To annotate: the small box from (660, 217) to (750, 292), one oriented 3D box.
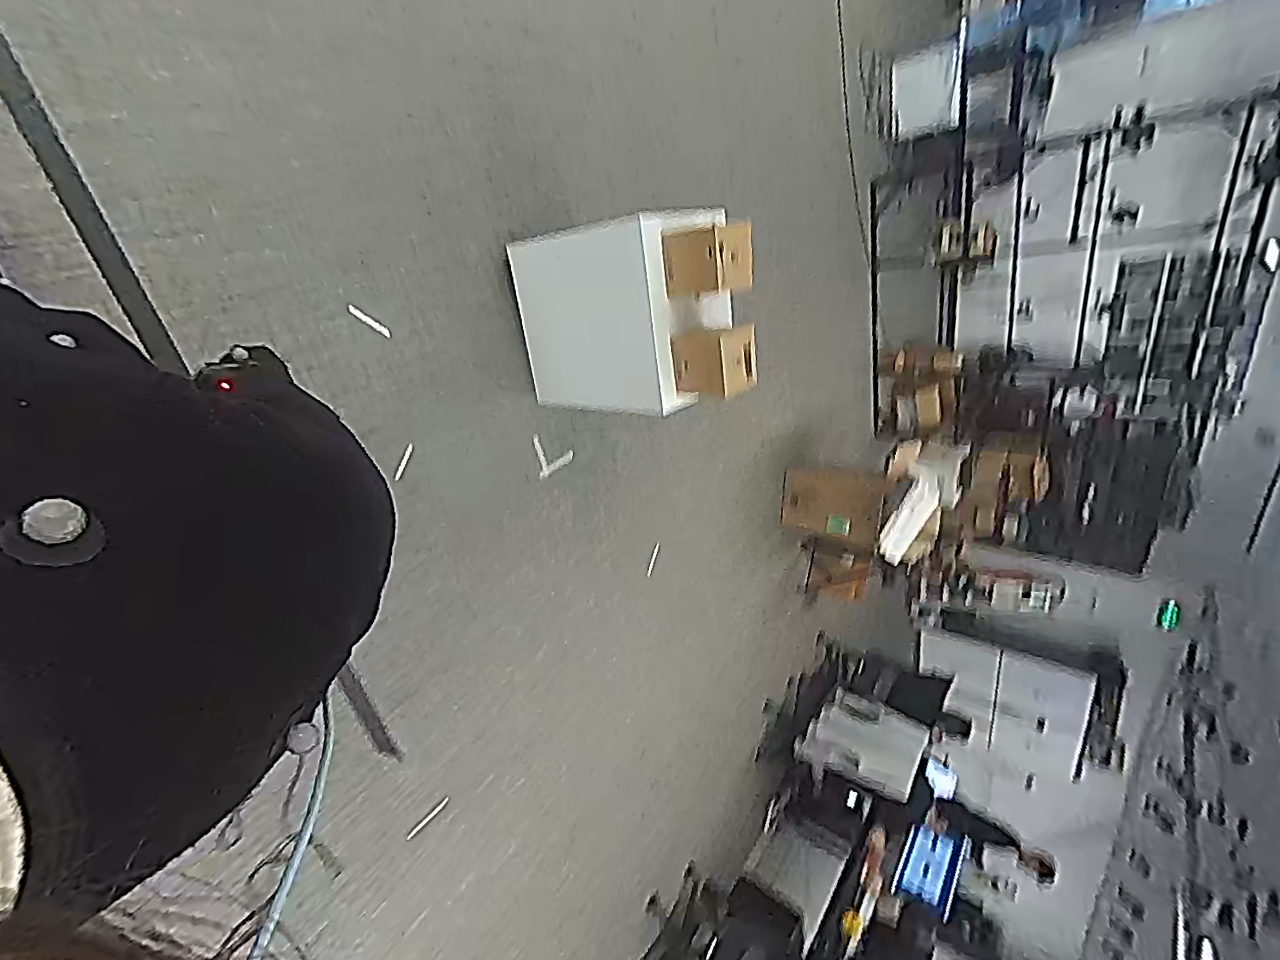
[{"bbox_3d":[0.174,-0.595,1.430,0.179,0.176,0.168,-30,120,-44],"label":"small box"}]
